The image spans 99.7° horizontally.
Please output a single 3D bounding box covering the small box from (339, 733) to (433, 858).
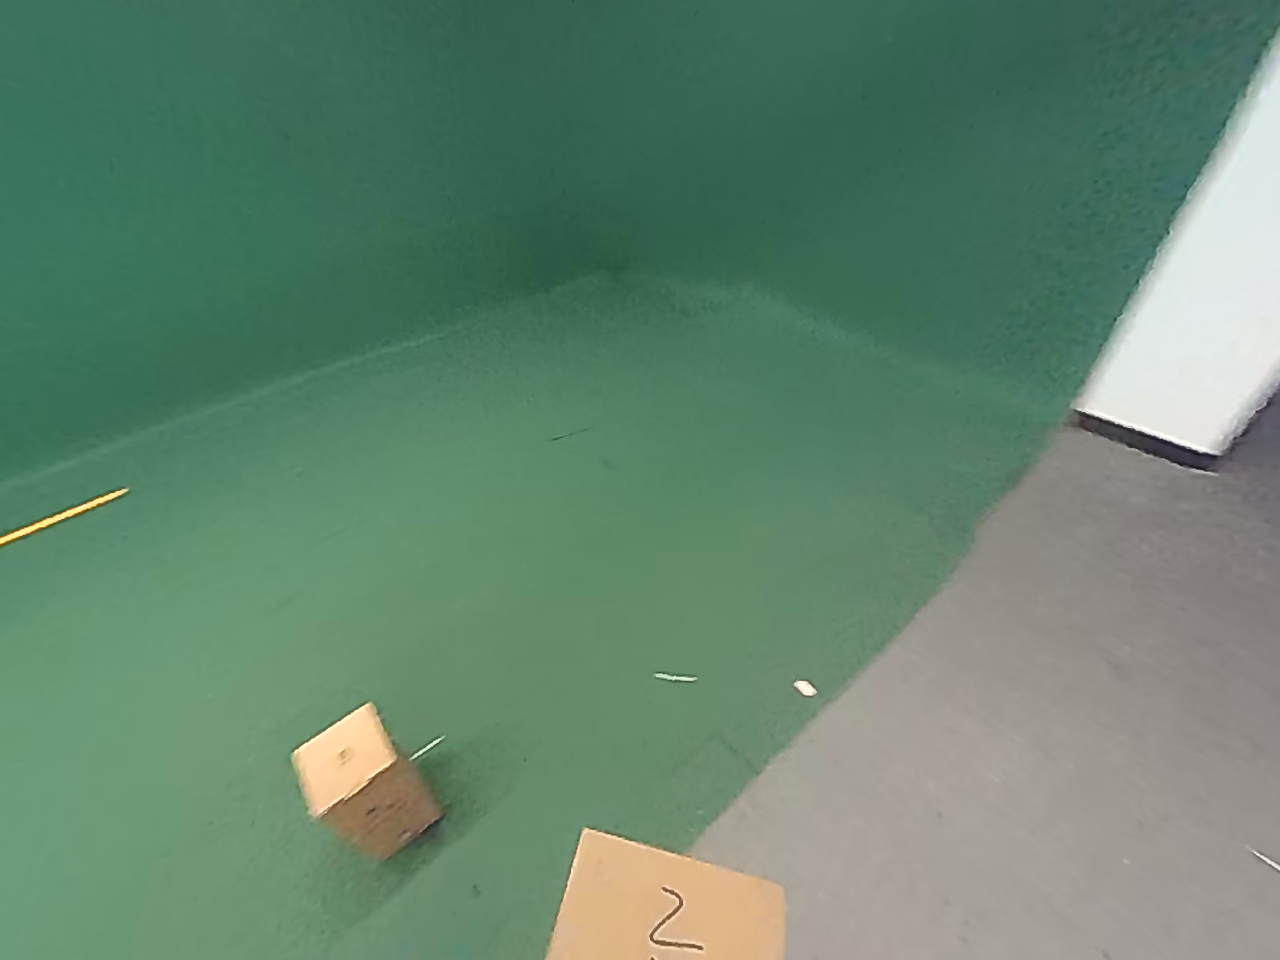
[{"bbox_3d":[-0.631,0.764,1.310,0.168,0.176,0.179,-30,48,-26],"label":"small box"}]

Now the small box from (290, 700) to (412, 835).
[{"bbox_3d":[-0.638,0.641,1.205,0.168,0.176,0.179,-30,48,-28],"label":"small box"}]
